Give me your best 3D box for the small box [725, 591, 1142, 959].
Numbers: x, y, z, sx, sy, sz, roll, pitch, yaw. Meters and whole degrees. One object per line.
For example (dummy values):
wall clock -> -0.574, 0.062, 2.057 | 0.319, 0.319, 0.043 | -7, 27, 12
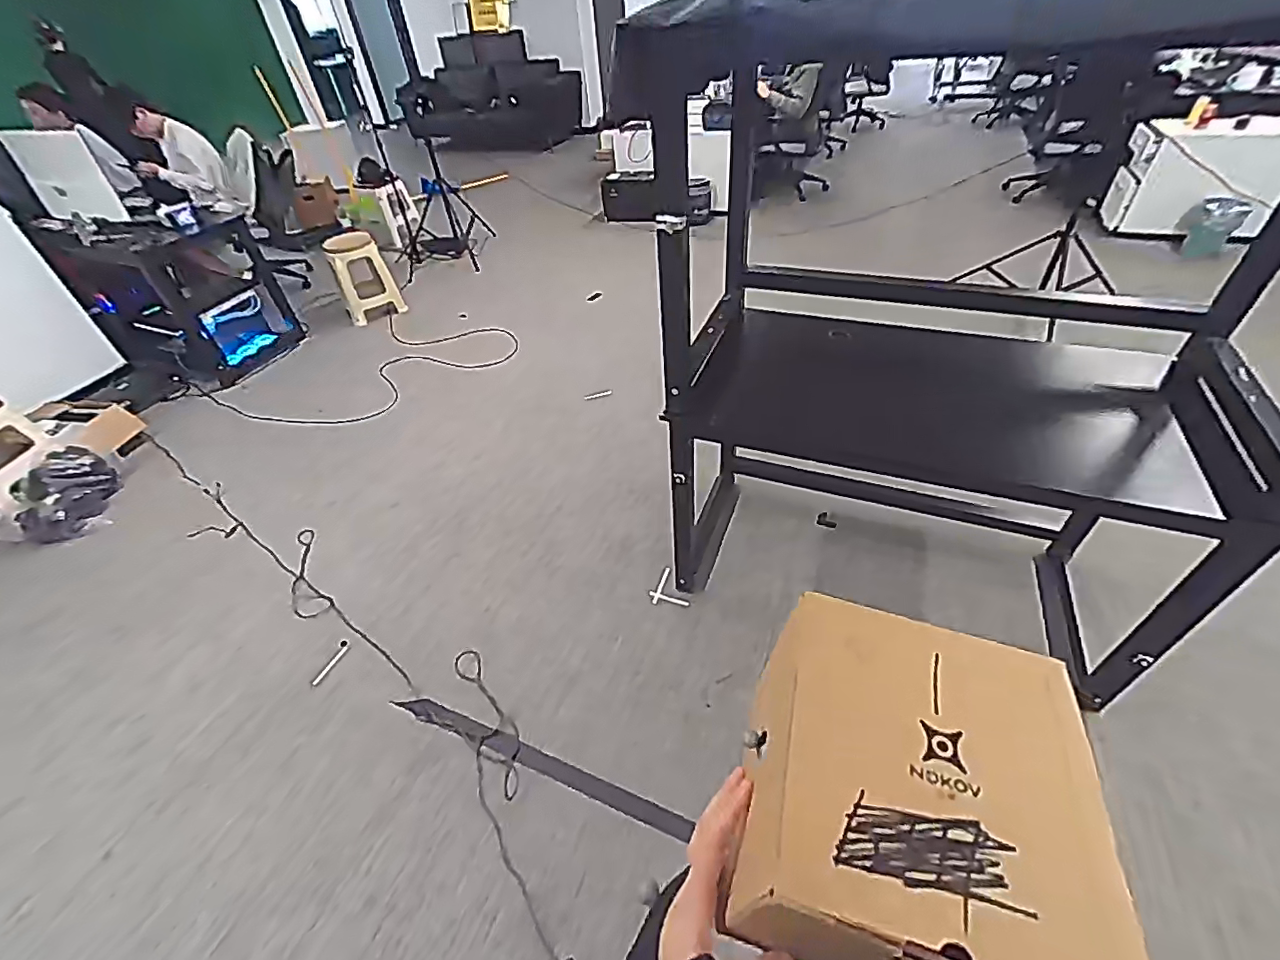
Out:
small box -> 0.158, 0.208, 0.350 | 0.168, 0.176, 0.179 | 15, 46, 9
